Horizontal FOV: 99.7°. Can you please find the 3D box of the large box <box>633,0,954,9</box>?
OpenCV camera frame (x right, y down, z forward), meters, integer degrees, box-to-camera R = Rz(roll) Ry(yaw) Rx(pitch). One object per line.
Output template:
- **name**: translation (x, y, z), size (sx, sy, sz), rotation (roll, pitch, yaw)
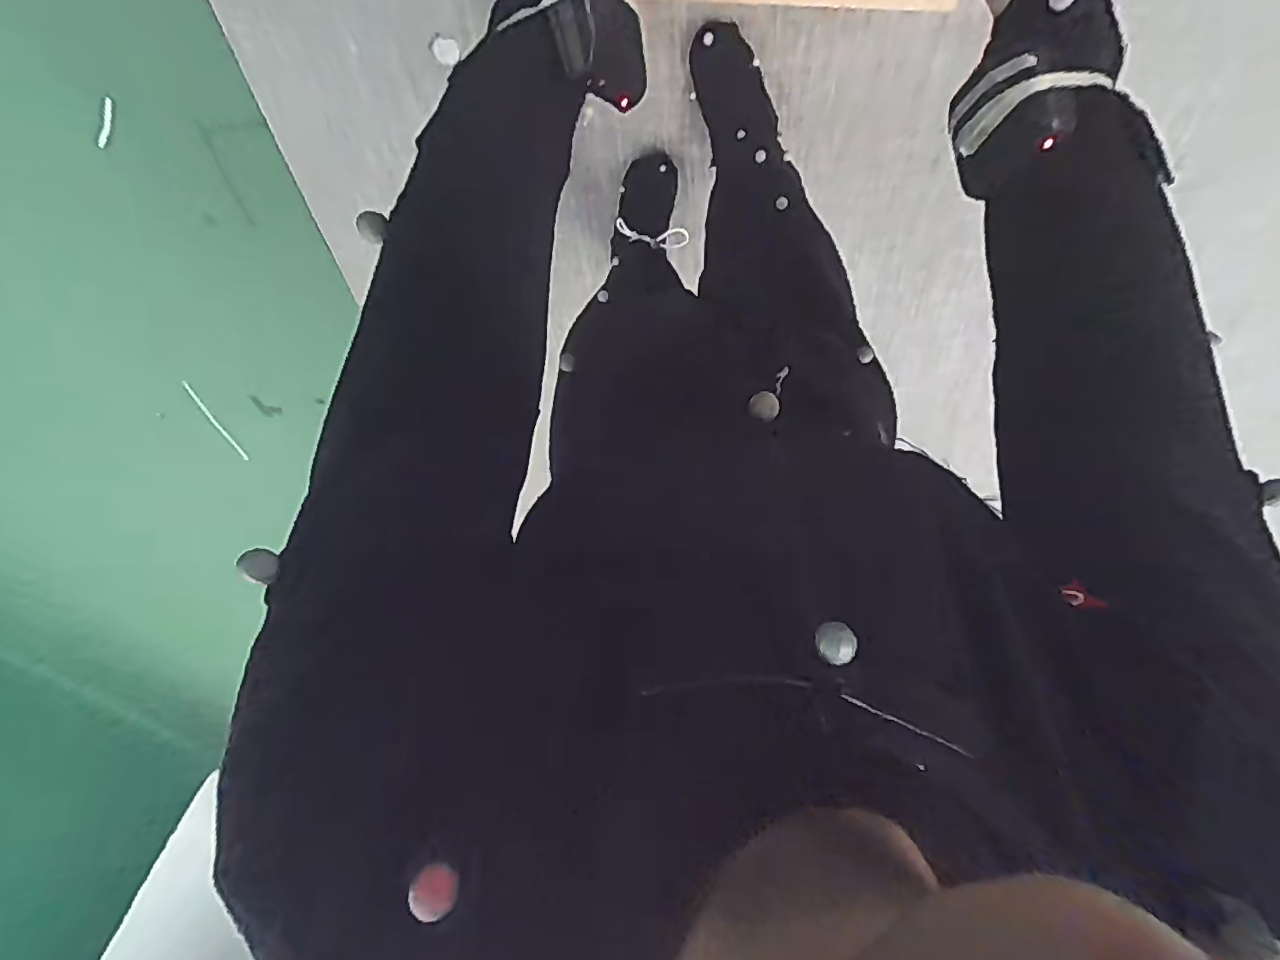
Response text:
- **large box**: translation (0.191, -0.793, 0.654), size (0.408, 0.320, 0.320), rotation (3, 137, 1)
